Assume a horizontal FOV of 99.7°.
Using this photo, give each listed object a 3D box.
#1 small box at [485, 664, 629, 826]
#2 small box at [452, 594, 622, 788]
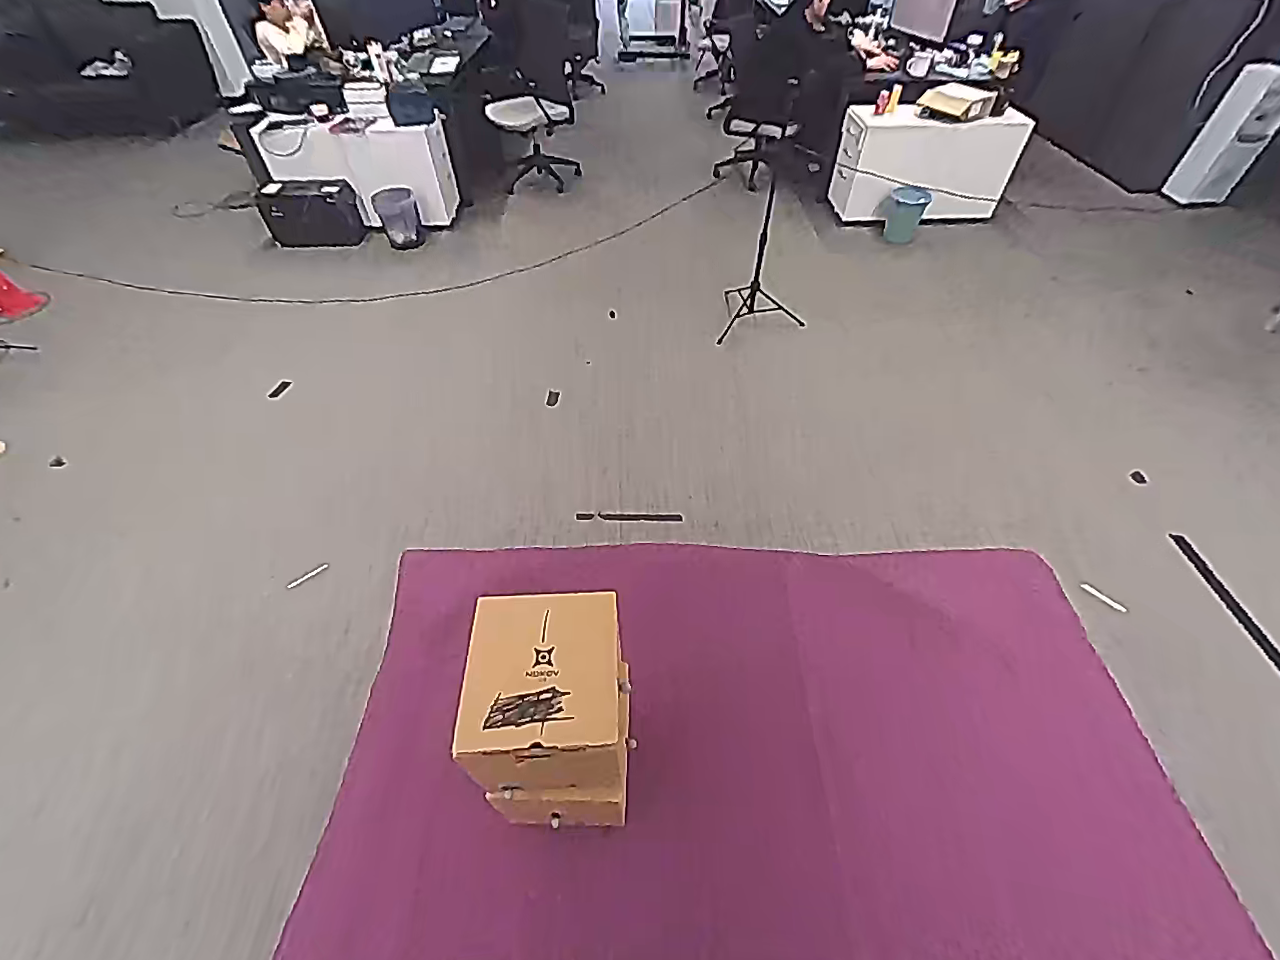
[{"bbox_3d":[-0.103,0.373,0.762,0.168,0.176,0.179,2,49,1],"label":"small box"},{"bbox_3d":[-0.106,0.255,0.646,0.168,0.176,0.179,-1,48,-2],"label":"small box"}]
